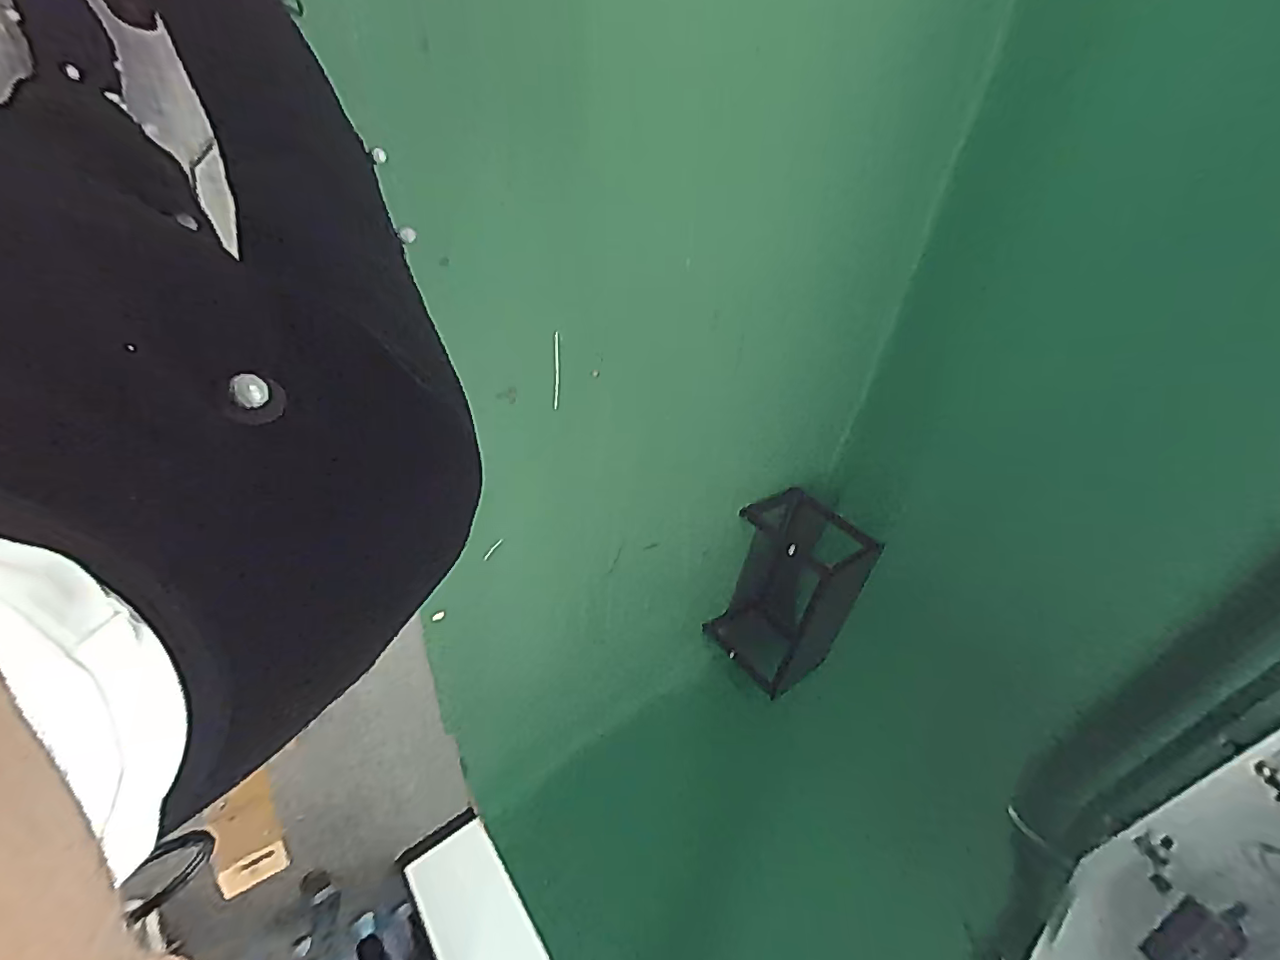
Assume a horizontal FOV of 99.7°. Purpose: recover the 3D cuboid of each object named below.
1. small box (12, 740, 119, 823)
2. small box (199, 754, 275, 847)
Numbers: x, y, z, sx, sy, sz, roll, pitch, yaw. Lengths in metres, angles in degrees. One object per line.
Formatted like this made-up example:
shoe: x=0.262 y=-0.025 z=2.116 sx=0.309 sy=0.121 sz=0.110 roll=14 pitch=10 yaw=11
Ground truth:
small box: x=-1.702 y=0.917 z=1.606 sx=0.179 sy=0.176 sz=0.168 roll=-21 pitch=135 yaw=-34
small box: x=-1.358 y=1.071 z=1.819 sx=0.179 sy=0.176 sz=0.168 roll=-15 pitch=132 yaw=-38
